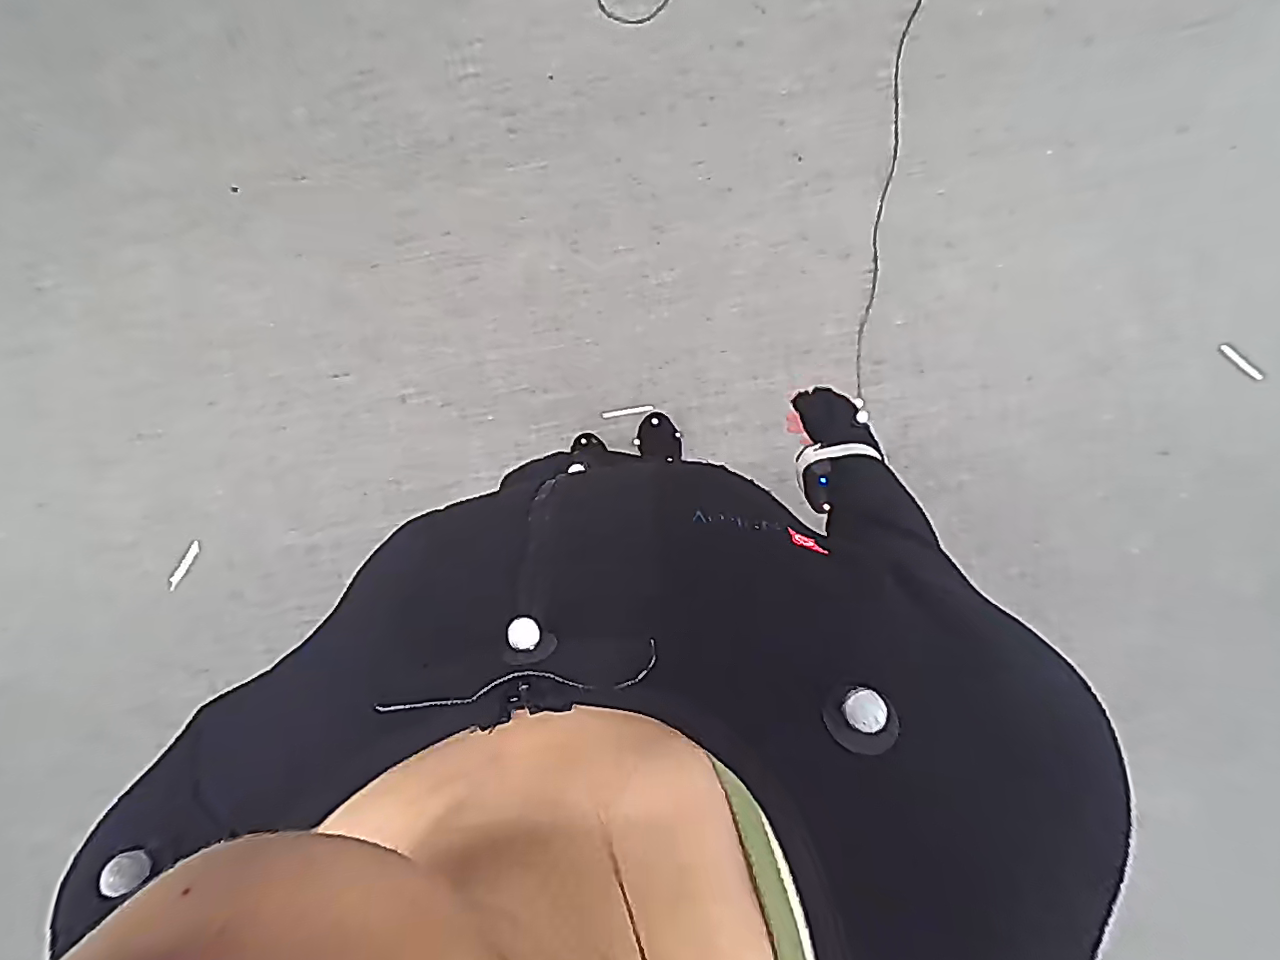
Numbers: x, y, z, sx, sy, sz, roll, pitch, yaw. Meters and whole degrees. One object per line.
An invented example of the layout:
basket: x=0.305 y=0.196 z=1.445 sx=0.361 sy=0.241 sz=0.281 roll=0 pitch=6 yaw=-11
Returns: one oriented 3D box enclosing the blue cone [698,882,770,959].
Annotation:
blue cone: x=0.267 y=1.272 z=1.399 sx=0.193 sy=0.380 sz=0.192 roll=-11 pitch=94 yaw=2
